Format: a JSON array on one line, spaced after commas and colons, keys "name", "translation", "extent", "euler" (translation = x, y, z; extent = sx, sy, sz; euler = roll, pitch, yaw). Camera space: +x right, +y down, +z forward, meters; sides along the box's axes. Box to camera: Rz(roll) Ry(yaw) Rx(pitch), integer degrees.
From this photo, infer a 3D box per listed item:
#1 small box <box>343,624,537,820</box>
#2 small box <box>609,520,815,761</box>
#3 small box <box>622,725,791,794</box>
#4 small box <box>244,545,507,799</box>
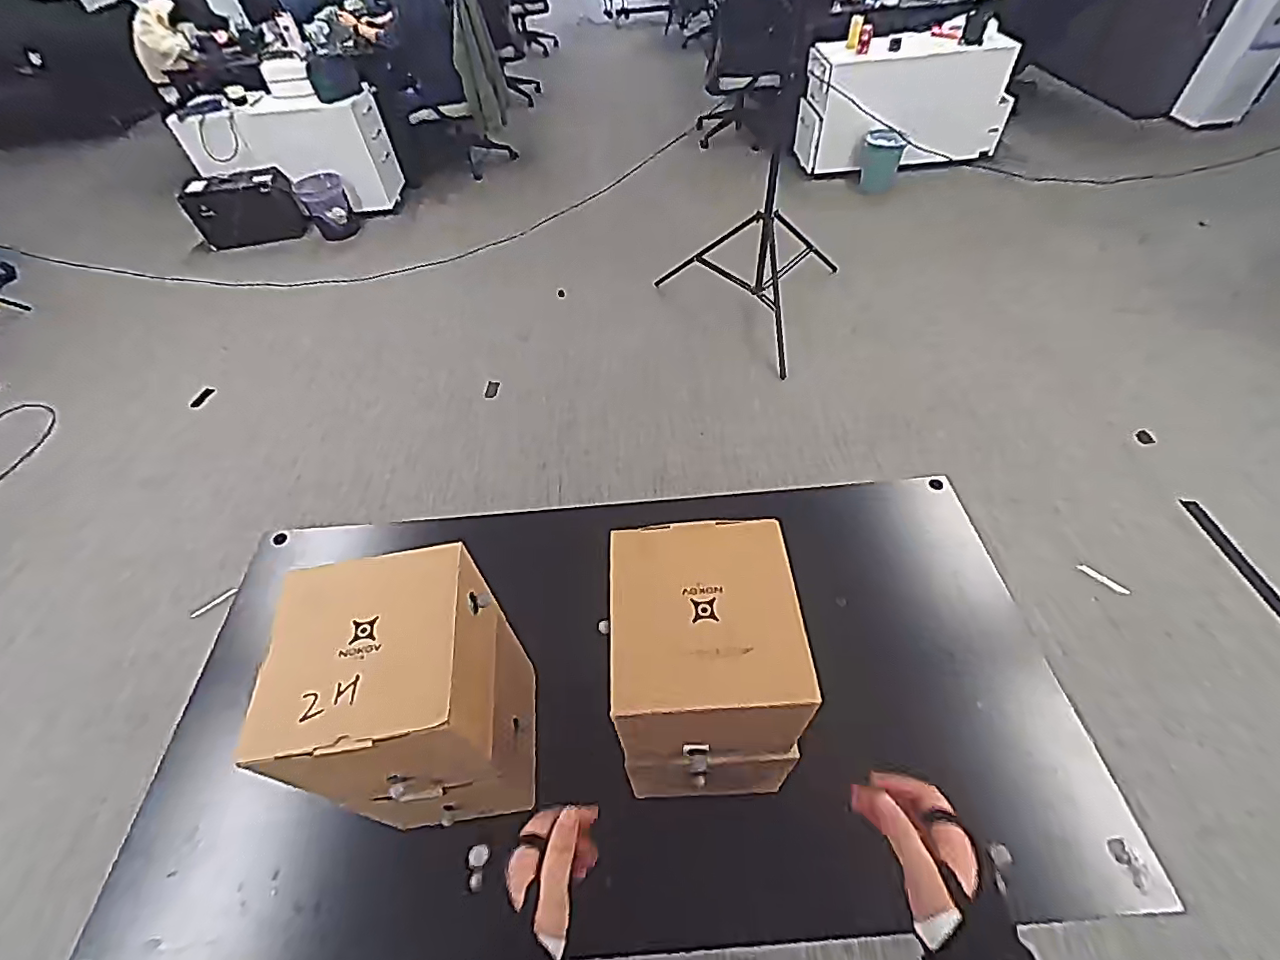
[{"name": "small box", "translation": [-0.225, 0.302, 0.662], "extent": [0.168, 0.176, 0.179], "euler": [-8, 50, -1]}, {"name": "small box", "translation": [0.059, 0.163, 0.541], "extent": [0.168, 0.176, 0.179], "euler": [-5, 51, 2]}, {"name": "small box", "translation": [0.072, 0.274, 0.660], "extent": [0.179, 0.176, 0.168], "euler": [-3, 50, 2]}, {"name": "small box", "translation": [-0.236, 0.192, 0.538], "extent": [0.168, 0.176, 0.179], "euler": [-9, 50, -3]}]
